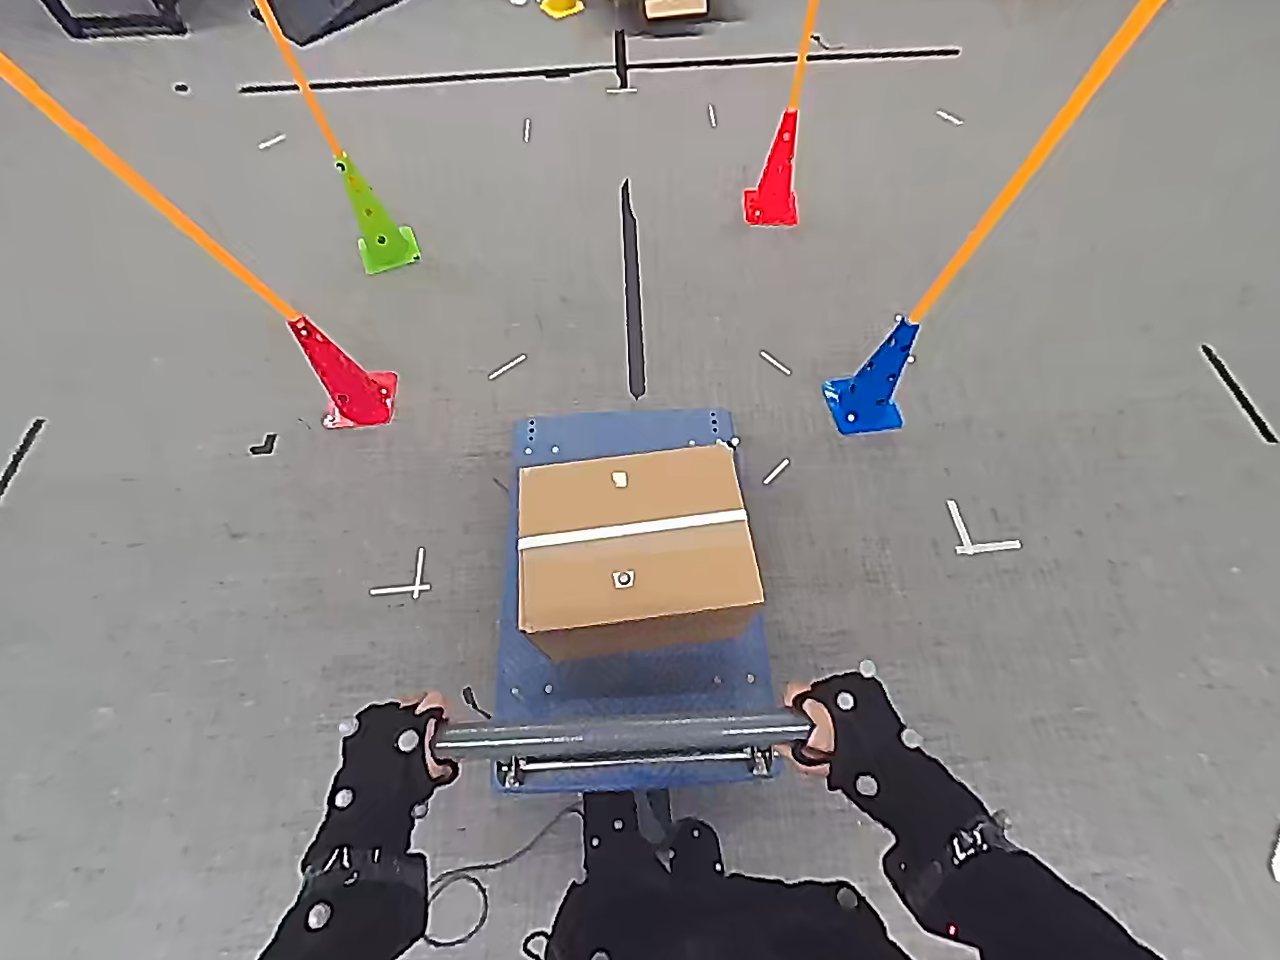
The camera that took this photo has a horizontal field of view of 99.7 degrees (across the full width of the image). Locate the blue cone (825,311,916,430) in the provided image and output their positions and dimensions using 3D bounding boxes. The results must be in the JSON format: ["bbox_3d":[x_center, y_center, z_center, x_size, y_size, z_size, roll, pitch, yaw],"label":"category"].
[{"bbox_3d":[0.679,-0.314,1.512,0.193,0.380,0.192,-7,62,-3],"label":"blue cone"}]

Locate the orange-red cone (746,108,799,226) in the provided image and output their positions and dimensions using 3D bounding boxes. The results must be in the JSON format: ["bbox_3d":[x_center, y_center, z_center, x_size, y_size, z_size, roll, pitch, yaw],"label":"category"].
[{"bbox_3d":[0.501,-1.116,1.906,0.199,0.360,0.198,3,64,1],"label":"orange-red cone"}]
